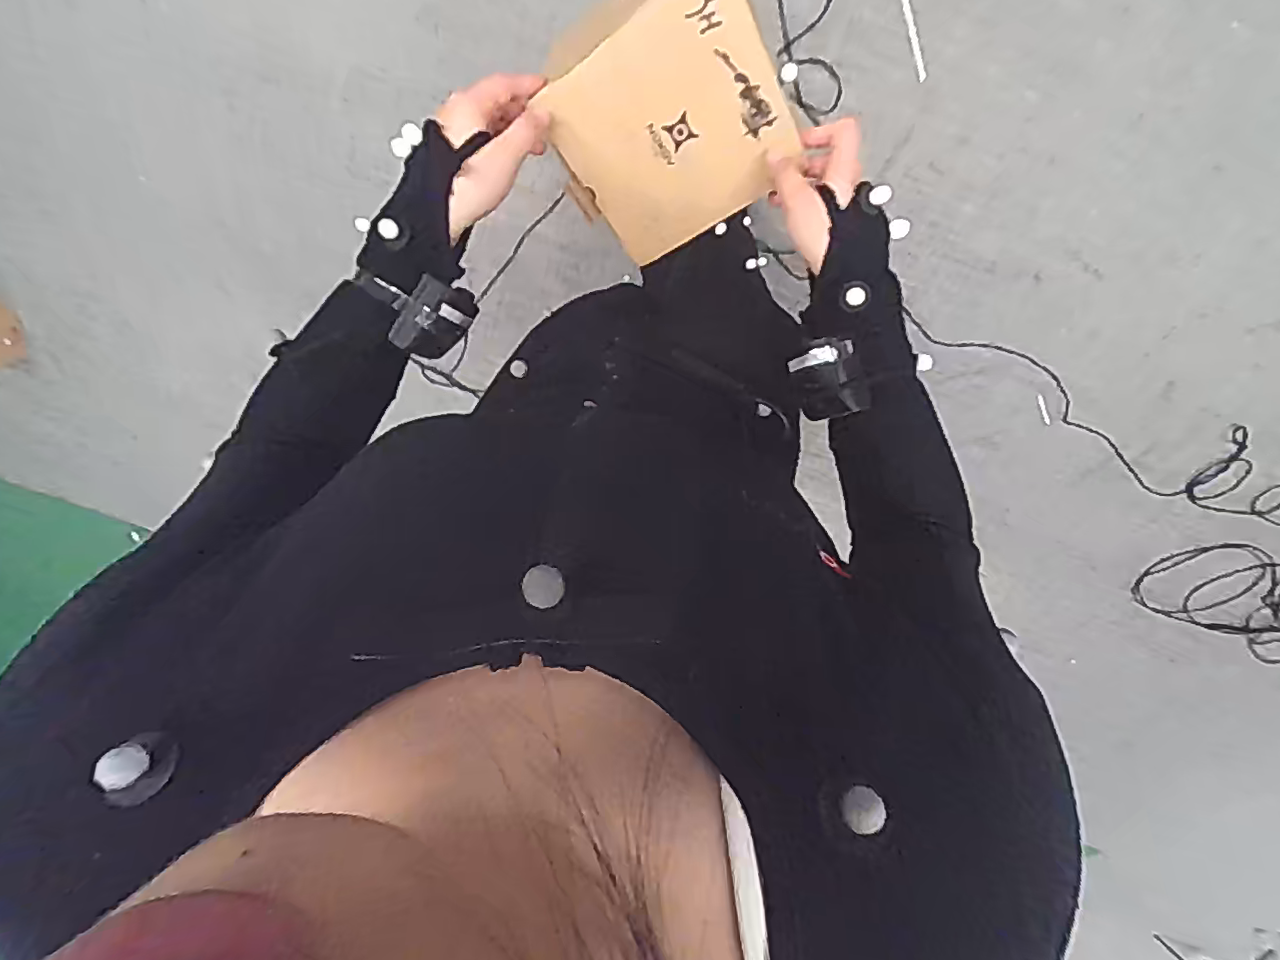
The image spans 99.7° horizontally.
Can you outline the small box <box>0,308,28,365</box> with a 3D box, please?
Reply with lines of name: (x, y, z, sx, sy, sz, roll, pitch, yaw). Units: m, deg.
small box: (-2.050, -0.446, 1.641, 0.179, 0.176, 0.168, 24, 126, -6)
